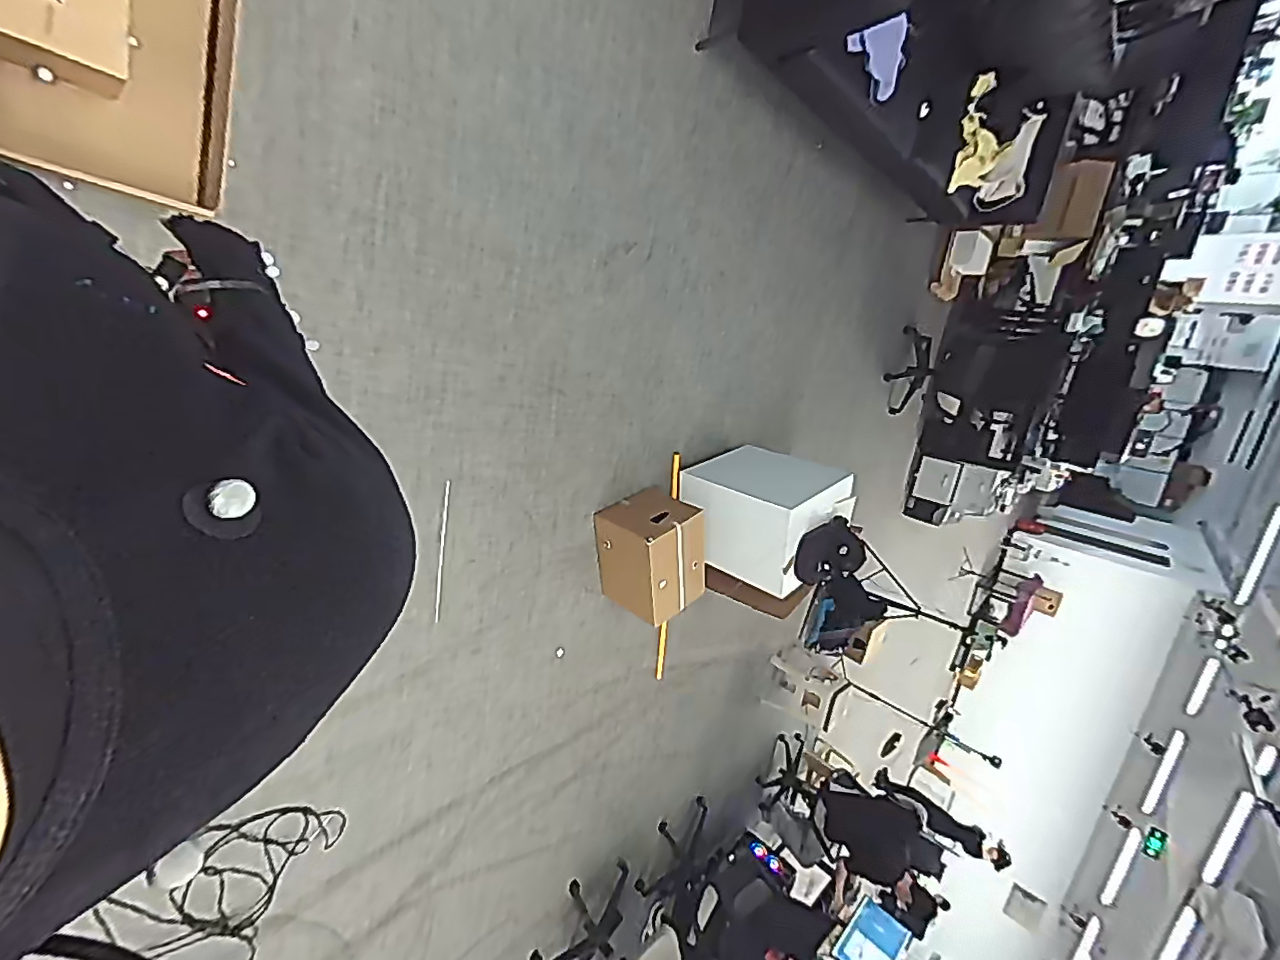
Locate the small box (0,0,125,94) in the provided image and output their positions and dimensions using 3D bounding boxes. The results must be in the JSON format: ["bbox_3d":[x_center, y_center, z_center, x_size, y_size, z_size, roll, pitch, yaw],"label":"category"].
[{"bbox_3d":[-0.895,-0.724,0.809,0.168,0.176,0.179,-1,106,-48],"label":"small box"}]
